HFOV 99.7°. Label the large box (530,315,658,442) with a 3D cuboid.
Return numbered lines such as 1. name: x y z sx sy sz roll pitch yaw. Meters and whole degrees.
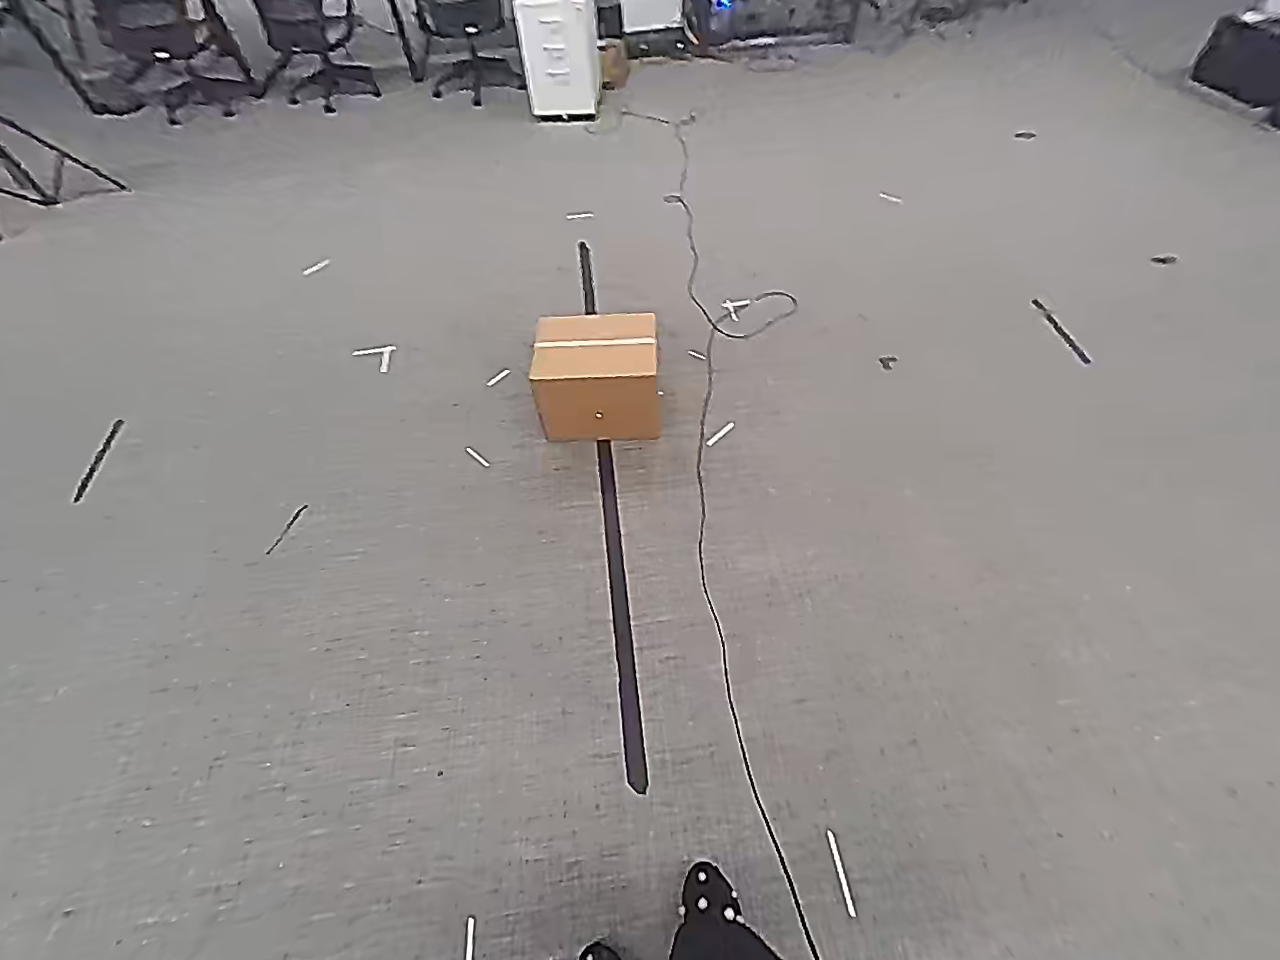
1. large box: -0.145 -0.350 1.892 0.408 0.320 0.320 -2 55 2
